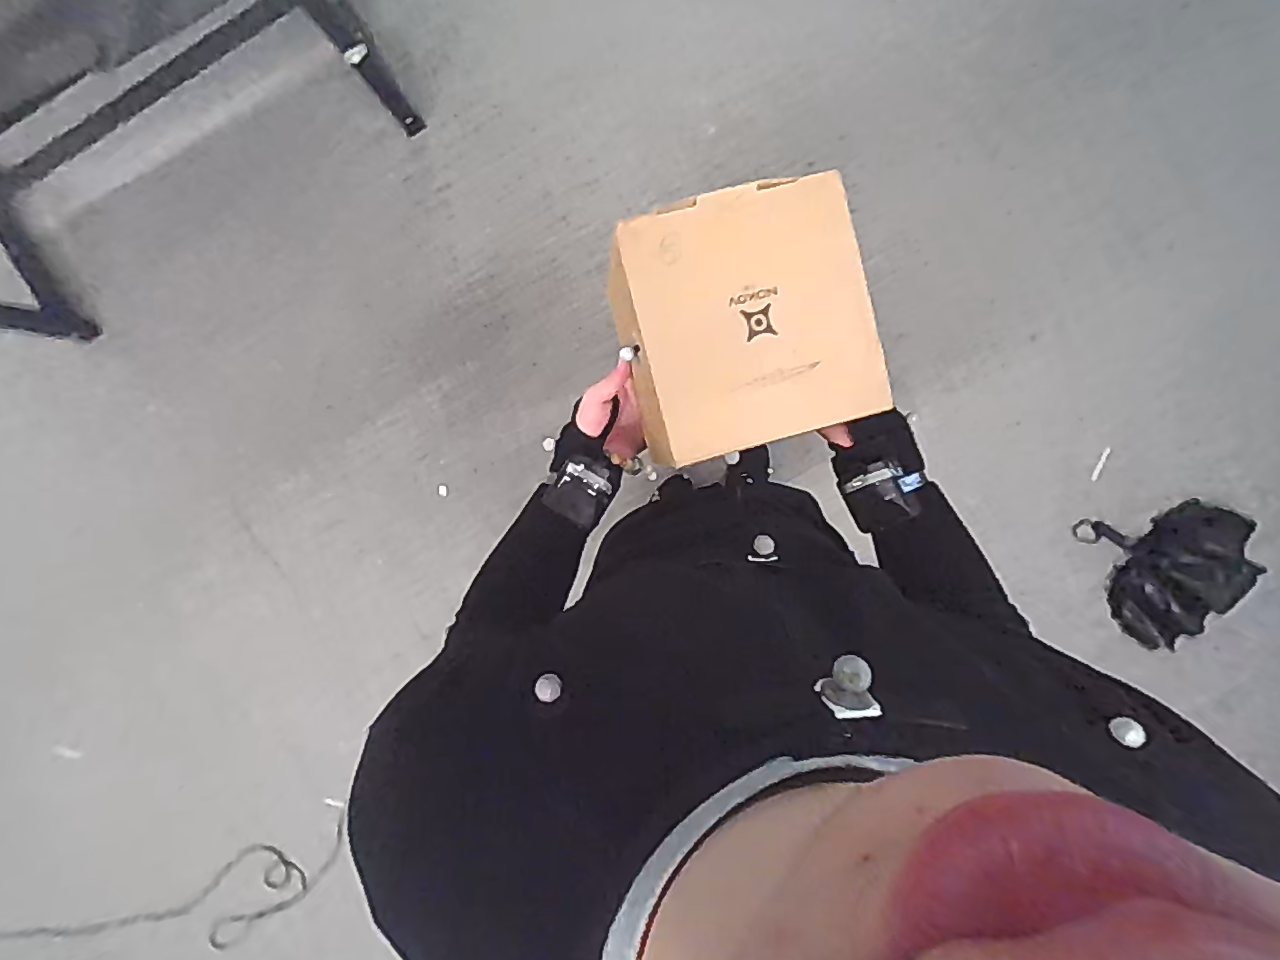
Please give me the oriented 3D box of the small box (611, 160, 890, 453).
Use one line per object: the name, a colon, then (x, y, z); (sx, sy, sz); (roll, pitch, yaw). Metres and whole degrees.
small box: (0.074, -0.125, 0.457); (0.168, 0.176, 0.179); (-15, 94, -4)
